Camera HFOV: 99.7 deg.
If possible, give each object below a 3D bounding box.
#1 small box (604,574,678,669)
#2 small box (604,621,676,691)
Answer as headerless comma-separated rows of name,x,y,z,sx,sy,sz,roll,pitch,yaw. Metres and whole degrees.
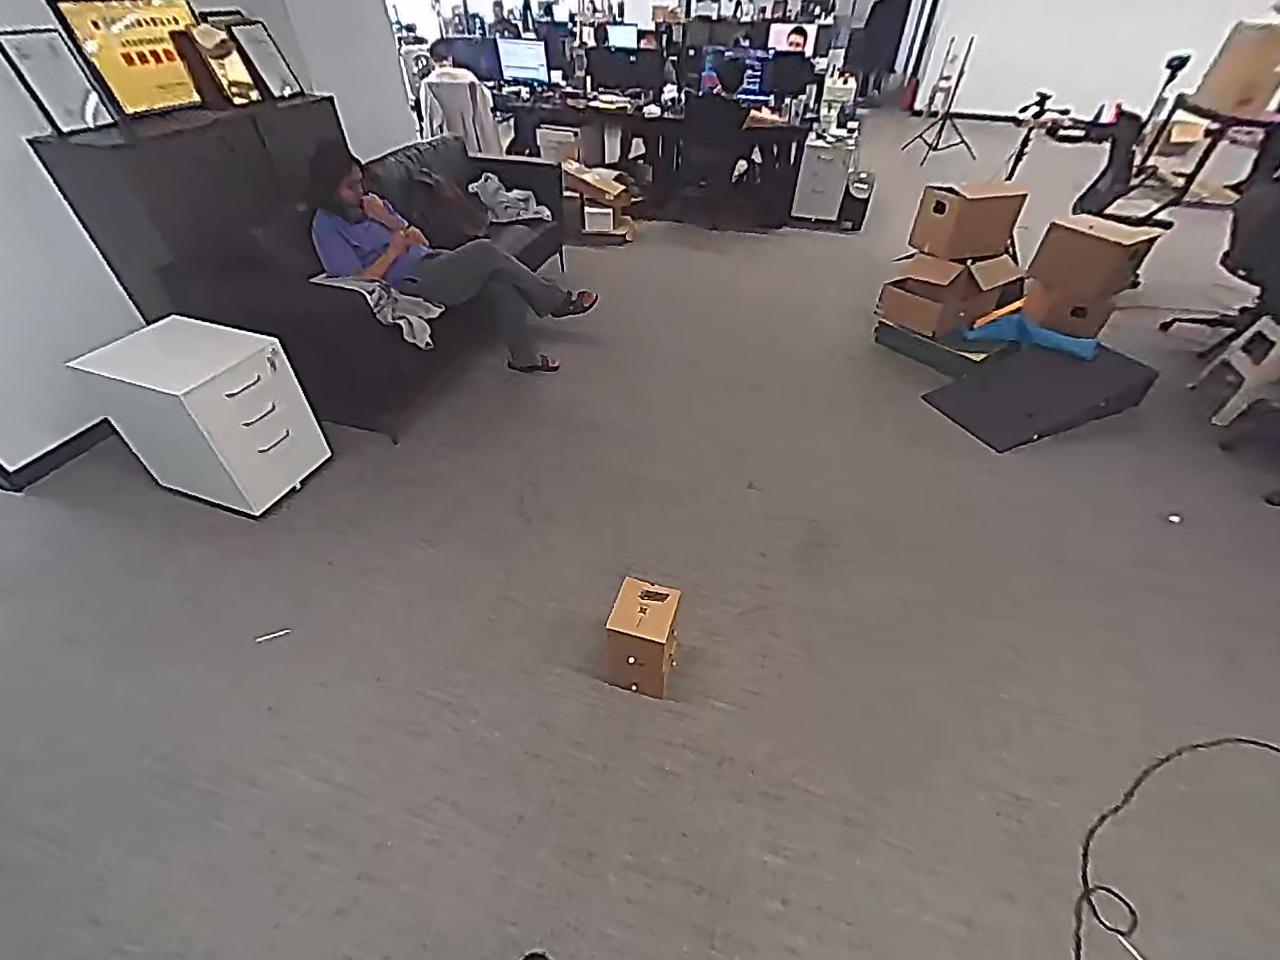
small box,0.002,0.399,1.526,0.168,0.176,0.179,12,44,12
small box,0.000,0.516,1.643,0.179,0.176,0.168,14,43,12
